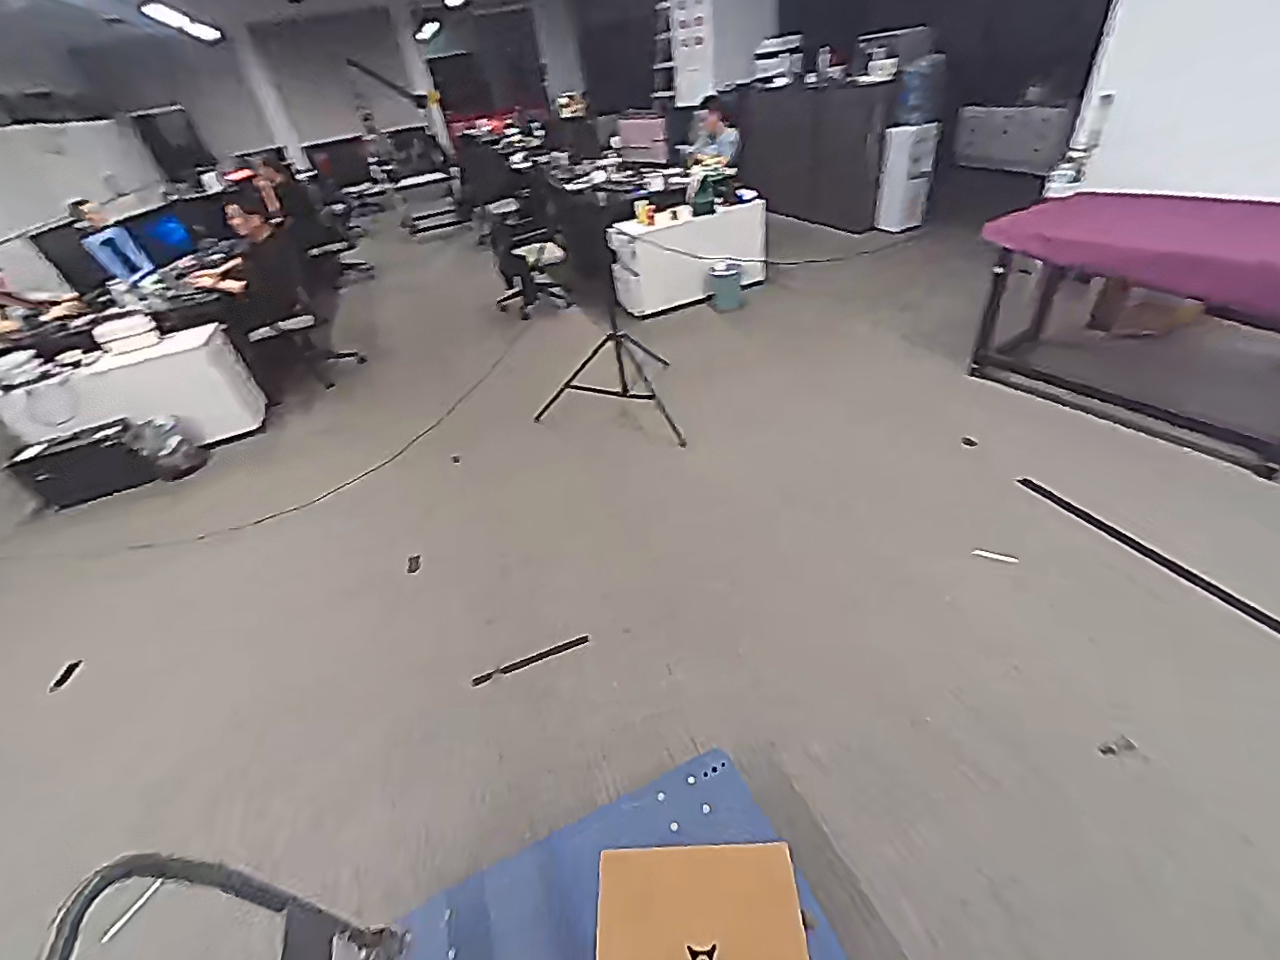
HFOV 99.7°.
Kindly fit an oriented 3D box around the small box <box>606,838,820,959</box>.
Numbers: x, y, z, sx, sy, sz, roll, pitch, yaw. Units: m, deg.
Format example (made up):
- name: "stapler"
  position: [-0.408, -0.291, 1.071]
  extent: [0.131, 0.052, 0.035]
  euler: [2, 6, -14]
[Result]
- name: "small box"
  position: [0.061, 0.429, 0.454]
  extent: [0.168, 0.176, 0.179]
  euler: [-5, 41, 4]
